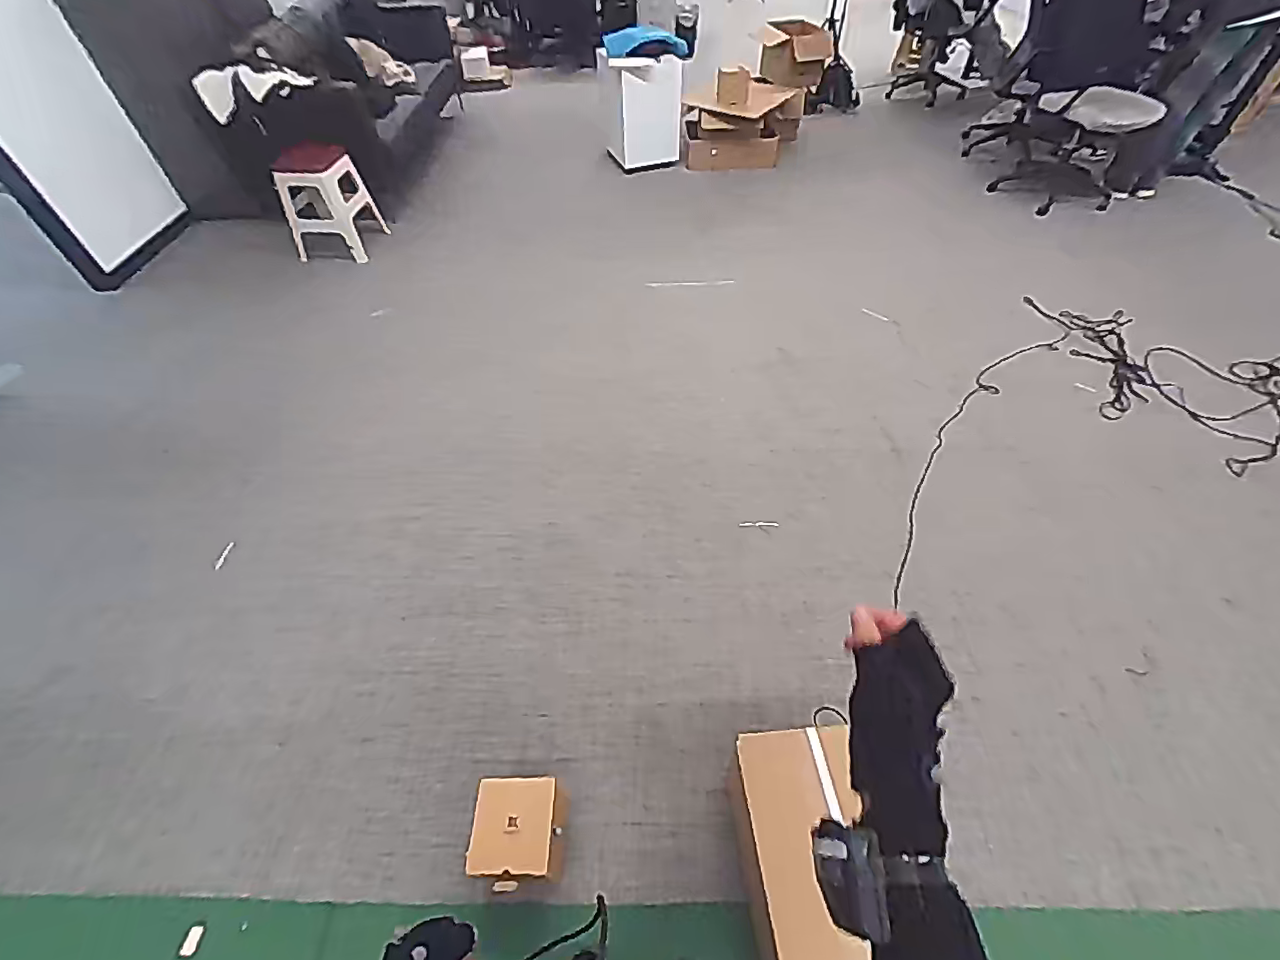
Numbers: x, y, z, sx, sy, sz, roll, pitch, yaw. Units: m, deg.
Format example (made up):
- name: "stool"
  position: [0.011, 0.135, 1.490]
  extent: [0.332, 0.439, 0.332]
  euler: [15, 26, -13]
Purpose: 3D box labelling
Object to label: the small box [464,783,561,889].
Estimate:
- name: "small box"
  position: [-0.268, 0.779, 1.181]
  extent: [0.168, 0.176, 0.179]
  euler: [-1, 50, 1]
